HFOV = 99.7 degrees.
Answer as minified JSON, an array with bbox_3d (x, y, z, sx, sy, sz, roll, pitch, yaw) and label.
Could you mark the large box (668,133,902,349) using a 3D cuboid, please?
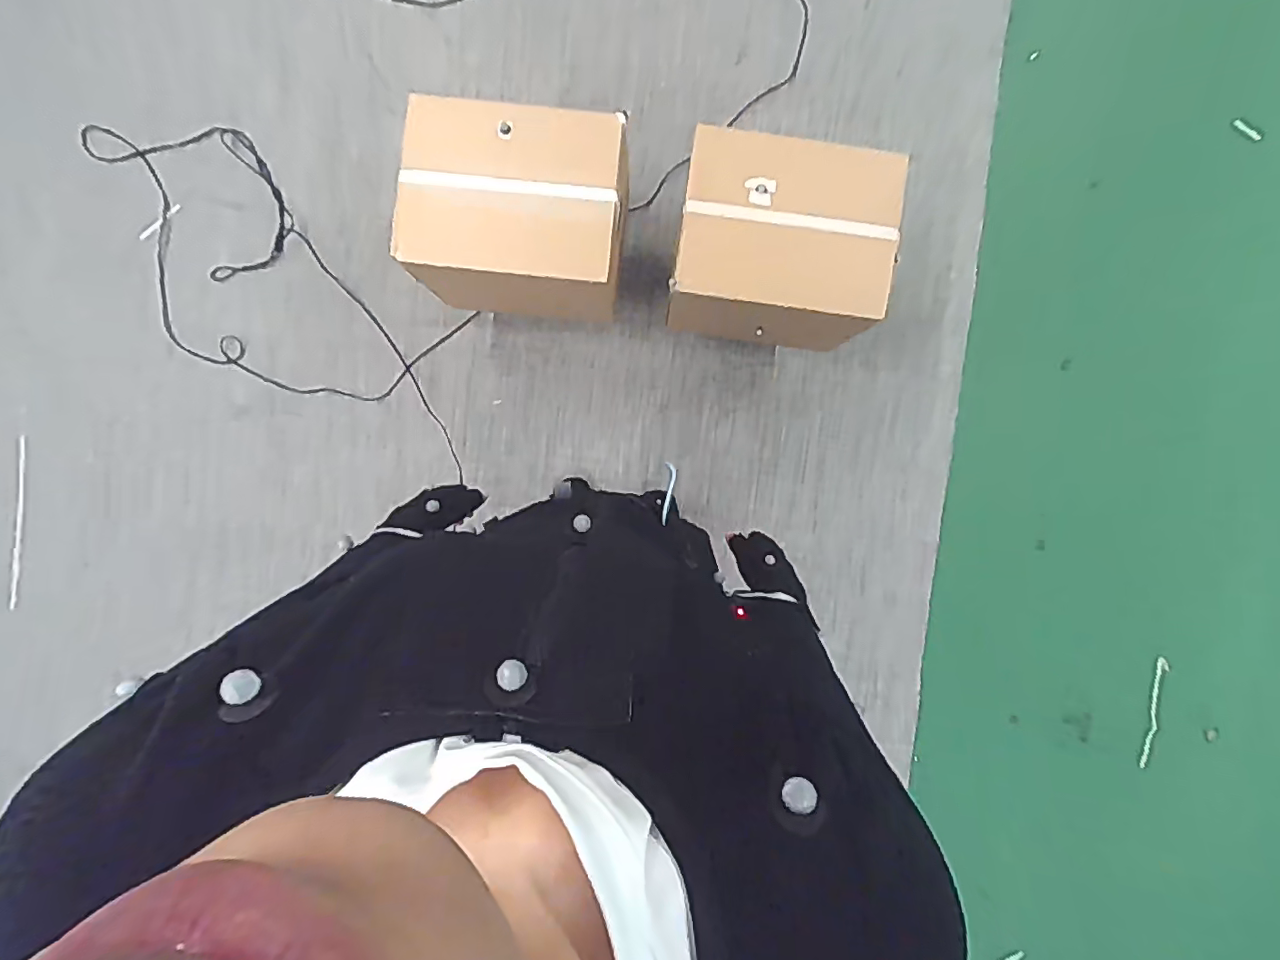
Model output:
[{"bbox_3d":[0.285,-0.487,1.176,0.408,0.320,0.320,8,91,0],"label":"large box"}]
